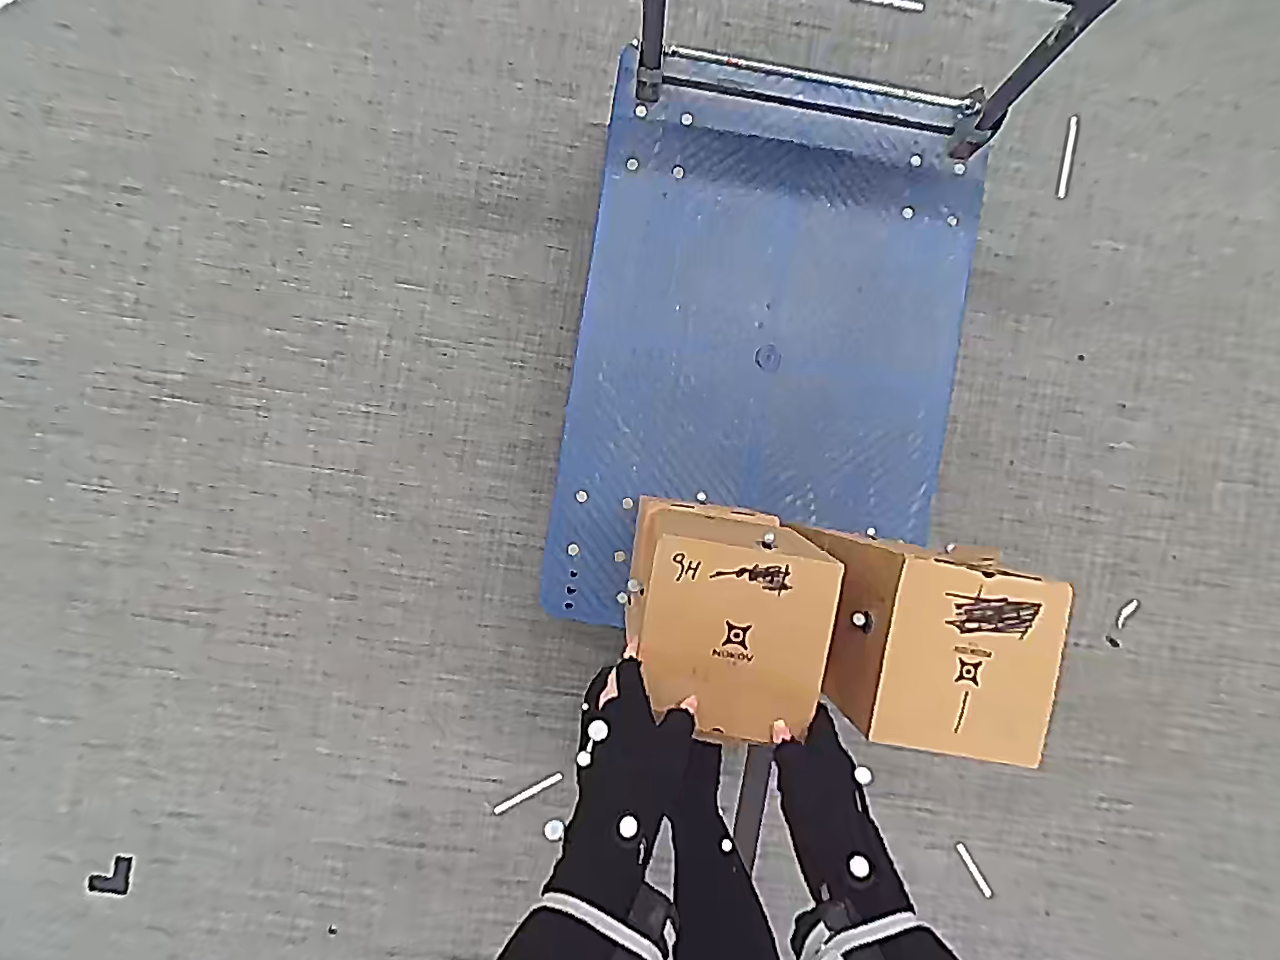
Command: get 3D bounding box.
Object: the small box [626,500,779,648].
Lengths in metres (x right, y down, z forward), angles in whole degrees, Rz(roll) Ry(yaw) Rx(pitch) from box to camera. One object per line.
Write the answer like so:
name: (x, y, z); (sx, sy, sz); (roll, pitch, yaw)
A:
small box: (0.074, 0.126, 0.729); (0.168, 0.176, 0.179); (8, 90, -3)

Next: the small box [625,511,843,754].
small box: (0.084, 0.140, 0.557); (0.168, 0.176, 0.179); (10, 95, -1)

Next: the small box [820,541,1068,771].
small box: (0.297, 0.169, 0.575); (0.168, 0.176, 0.179); (11, 91, -2)
